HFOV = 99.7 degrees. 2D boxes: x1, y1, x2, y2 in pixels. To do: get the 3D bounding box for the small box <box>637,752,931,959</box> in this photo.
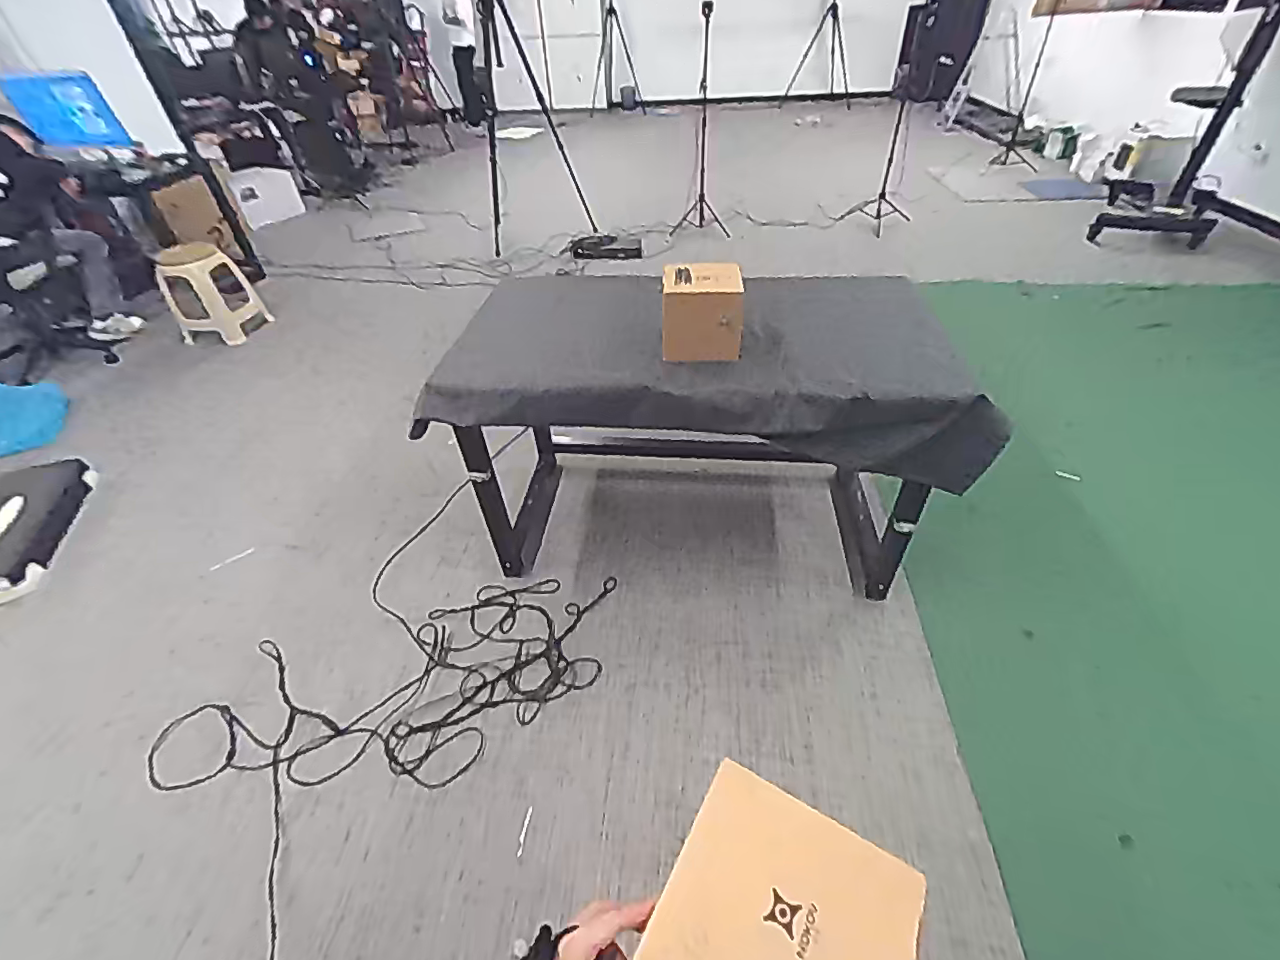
[{"bbox_3d":[0.106,0.374,0.441,0.179,0.176,0.168,23,41,21],"label":"small box"}]
